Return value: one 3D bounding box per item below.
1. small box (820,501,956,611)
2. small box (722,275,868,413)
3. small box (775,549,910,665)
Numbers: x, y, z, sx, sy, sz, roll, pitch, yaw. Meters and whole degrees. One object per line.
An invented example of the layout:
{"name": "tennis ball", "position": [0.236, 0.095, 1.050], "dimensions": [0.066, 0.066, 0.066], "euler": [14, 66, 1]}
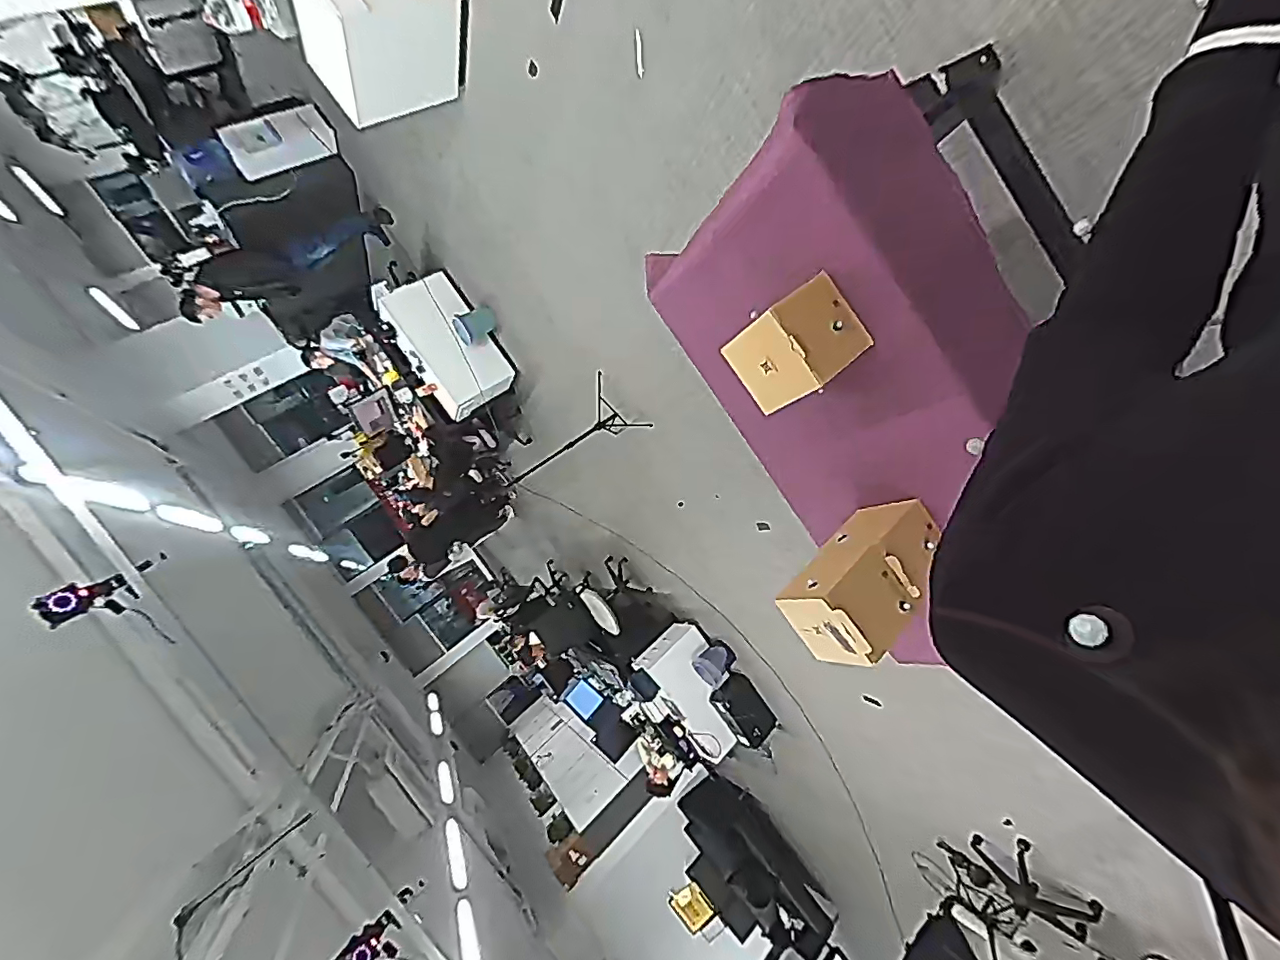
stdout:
{"name": "small box", "position": [0.543, 0.165, 1.187], "dimensions": [0.168, 0.176, 0.179], "euler": [54, 156, -5]}
{"name": "small box", "position": [0.299, -0.260, 1.048], "dimensions": [0.168, 0.176, 0.179], "euler": [54, 156, -3]}
{"name": "small box", "position": [0.424, 0.257, 1.121], "dimensions": [0.168, 0.176, 0.179], "euler": [53, 157, -1]}
